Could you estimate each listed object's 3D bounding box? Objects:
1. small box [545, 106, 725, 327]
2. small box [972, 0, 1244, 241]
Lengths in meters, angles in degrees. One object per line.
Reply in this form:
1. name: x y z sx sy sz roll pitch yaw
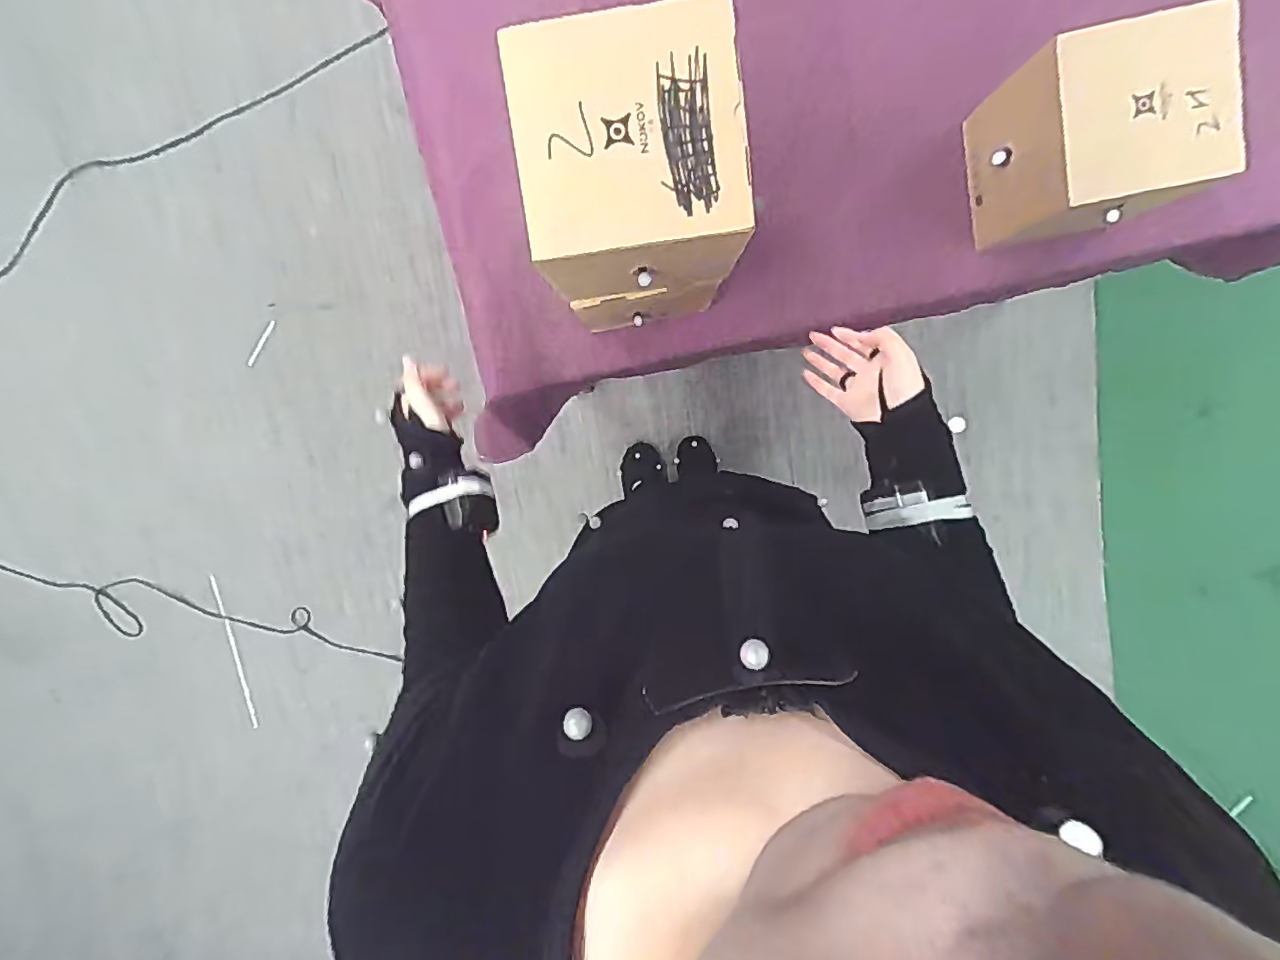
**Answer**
1. small box: -0.004 -0.295 0.644 0.168 0.176 0.179 -11 98 3
2. small box: 0.508 -0.391 0.615 0.179 0.176 0.168 -11 98 3
